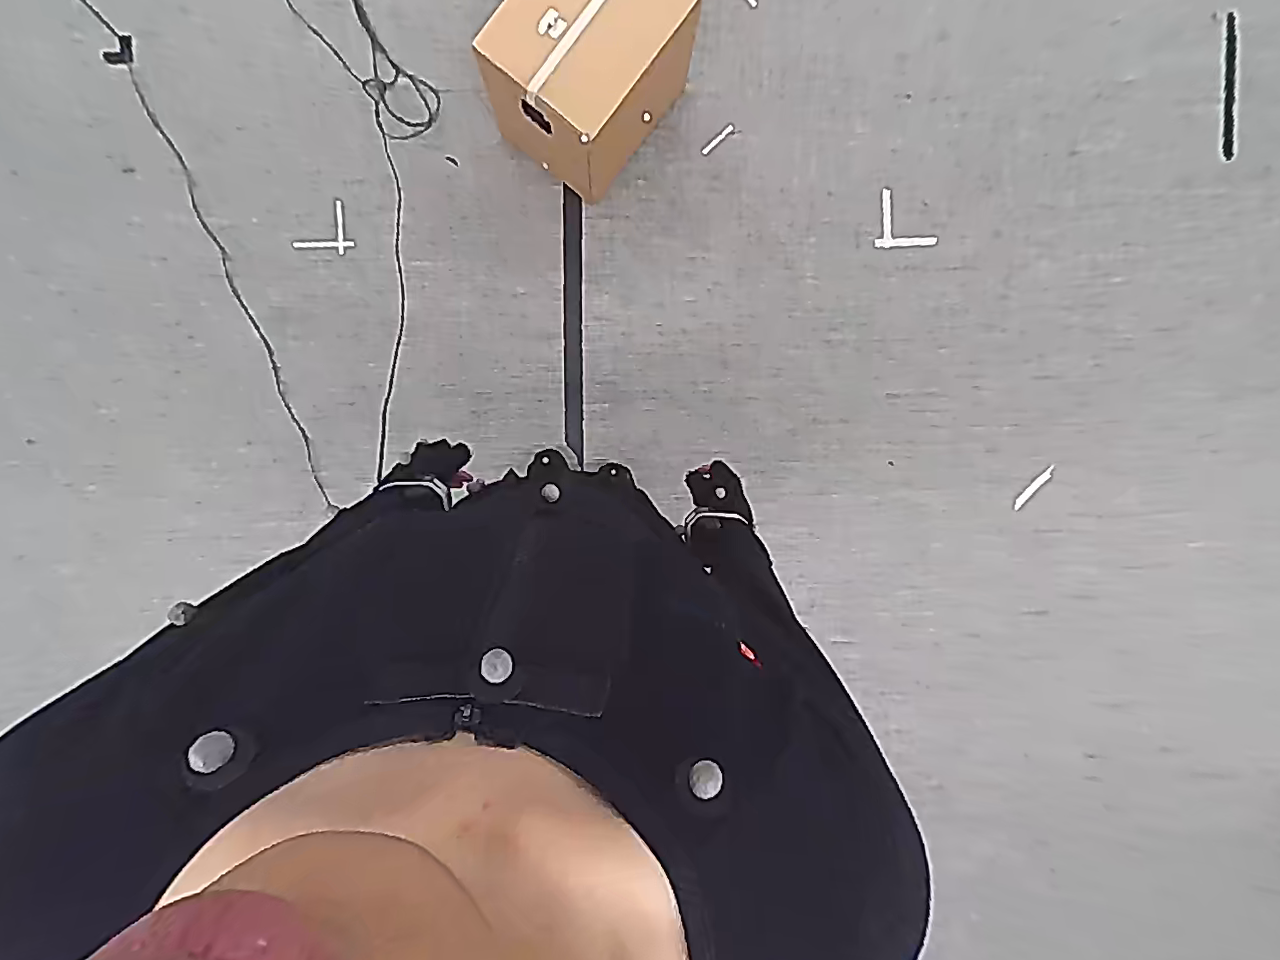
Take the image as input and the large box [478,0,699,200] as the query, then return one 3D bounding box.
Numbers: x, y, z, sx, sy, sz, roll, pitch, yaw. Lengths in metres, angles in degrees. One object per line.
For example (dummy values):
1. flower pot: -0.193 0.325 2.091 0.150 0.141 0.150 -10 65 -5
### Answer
1. large box: -0.112 -0.981 1.283 0.320 0.320 0.408 37 91 -4
